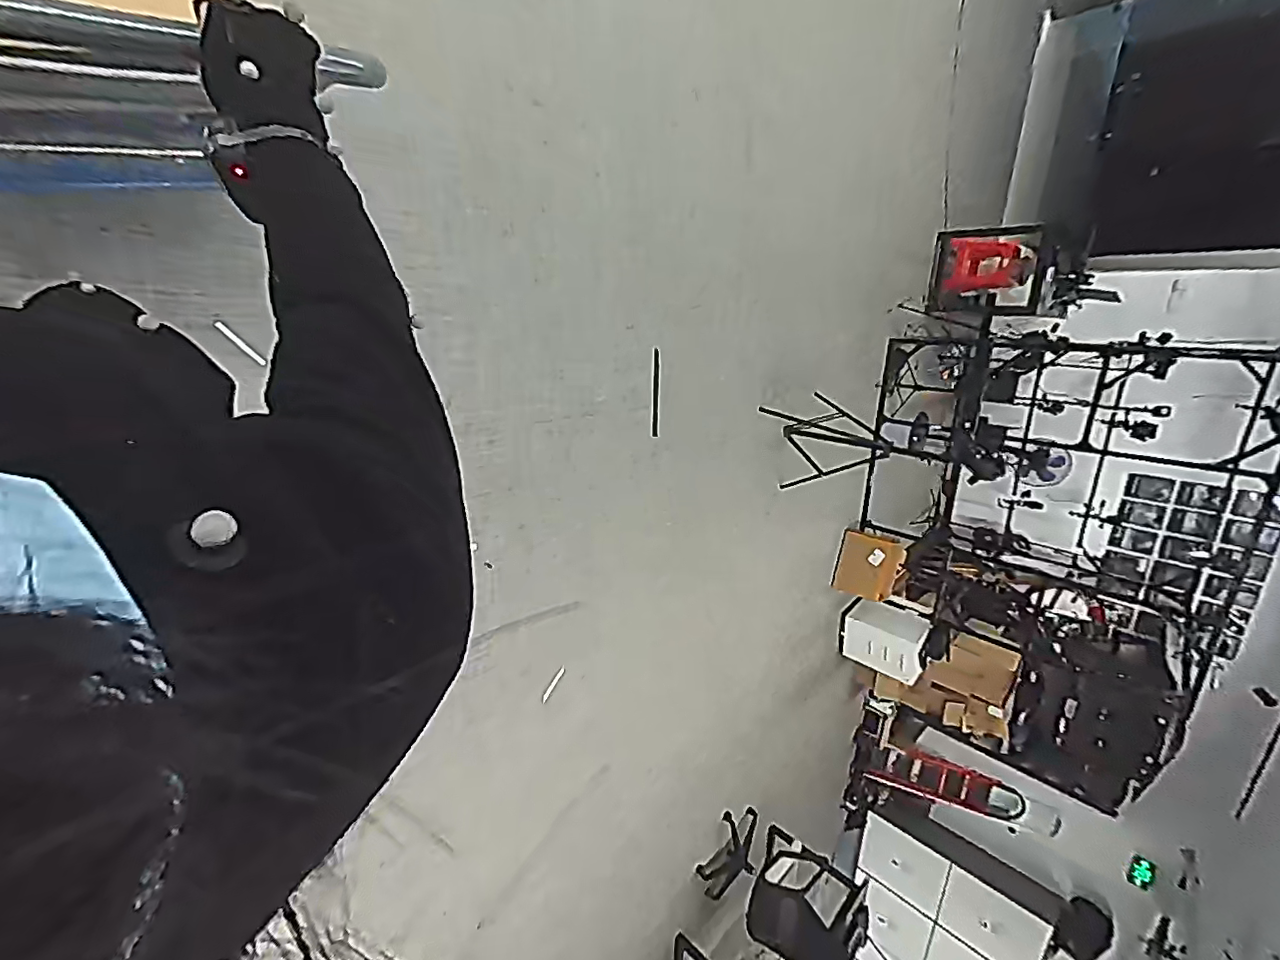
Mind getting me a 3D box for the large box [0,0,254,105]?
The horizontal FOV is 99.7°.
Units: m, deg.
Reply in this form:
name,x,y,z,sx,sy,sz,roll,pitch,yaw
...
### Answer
name,x,y,z,sx,sy,sz,roll,pitch,yaw
large box,-0.818,-0.699,0.690,0.408,0.320,0.320,-31,124,-39
